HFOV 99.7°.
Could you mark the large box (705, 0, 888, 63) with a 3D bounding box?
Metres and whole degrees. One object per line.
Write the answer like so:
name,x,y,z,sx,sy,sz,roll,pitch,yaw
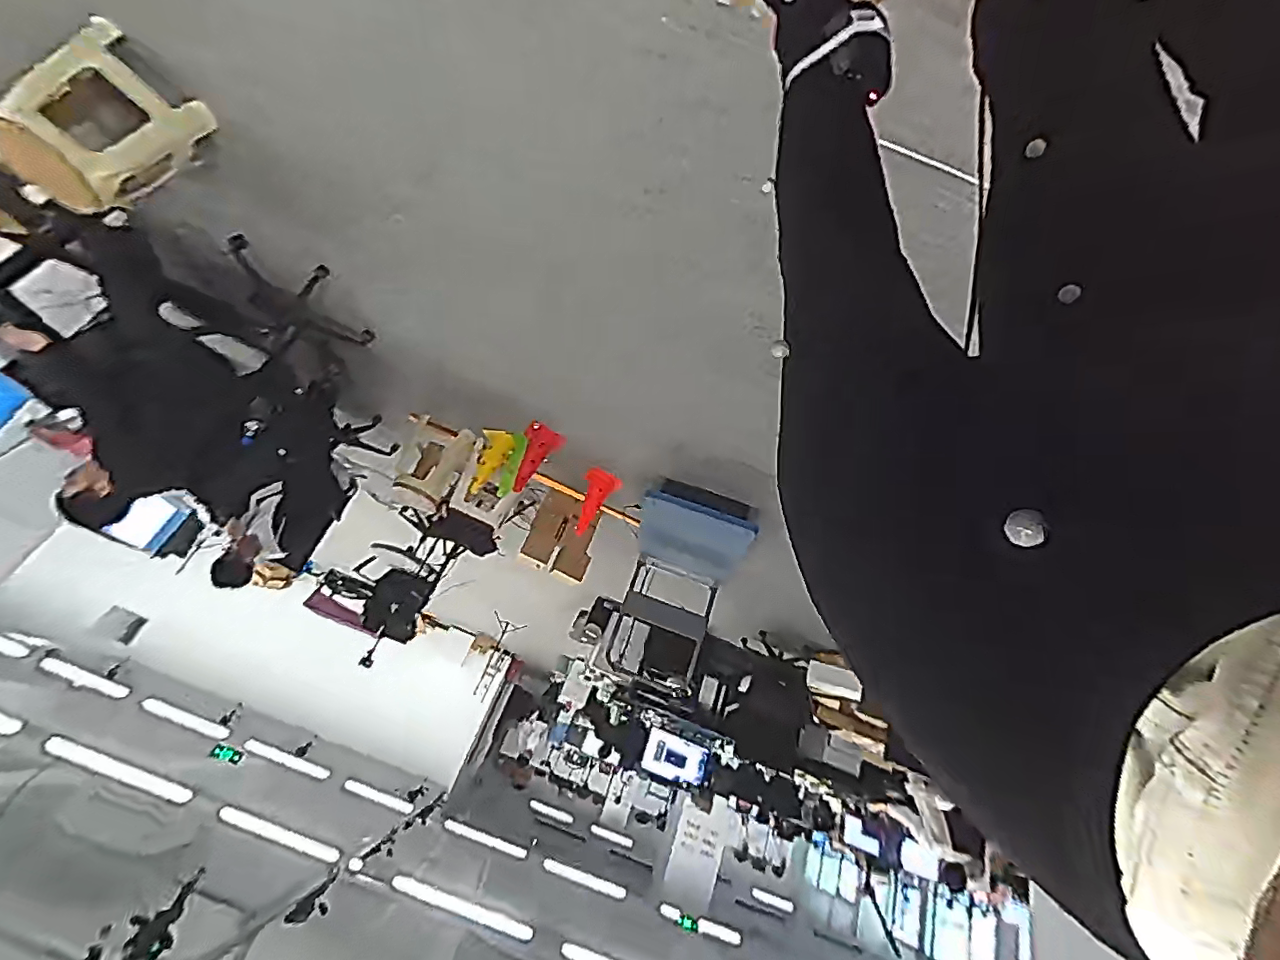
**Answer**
large box,0.205,-0.766,0.566,0.320,0.320,0.408,22,115,-10
